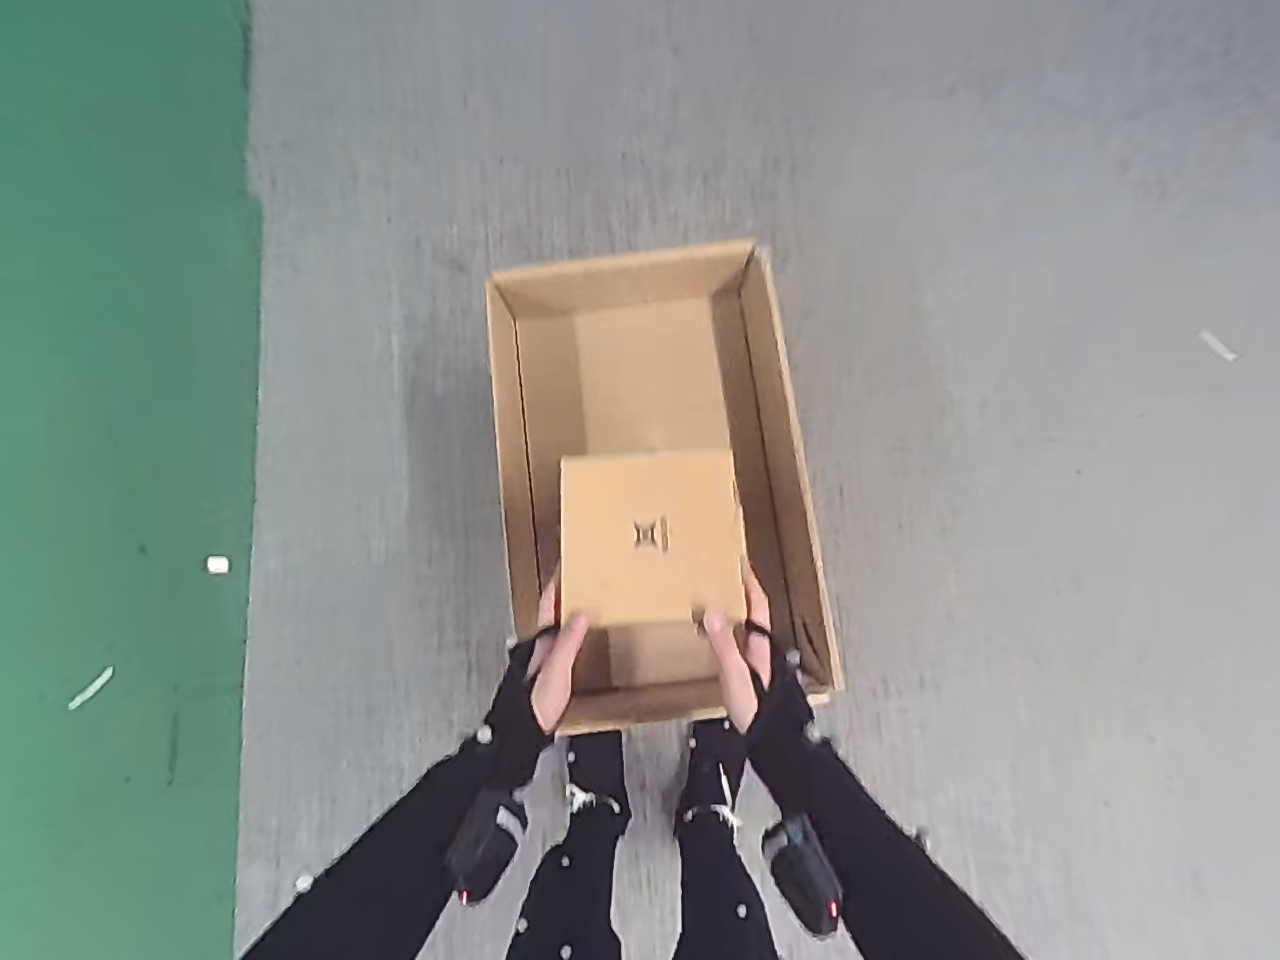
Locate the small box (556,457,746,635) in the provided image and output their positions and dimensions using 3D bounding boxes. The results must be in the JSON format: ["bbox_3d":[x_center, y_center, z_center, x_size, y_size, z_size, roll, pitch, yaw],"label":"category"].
[{"bbox_3d":[0.010,0.081,0.589,0.179,0.176,0.168,-2,74,0],"label":"small box"}]
